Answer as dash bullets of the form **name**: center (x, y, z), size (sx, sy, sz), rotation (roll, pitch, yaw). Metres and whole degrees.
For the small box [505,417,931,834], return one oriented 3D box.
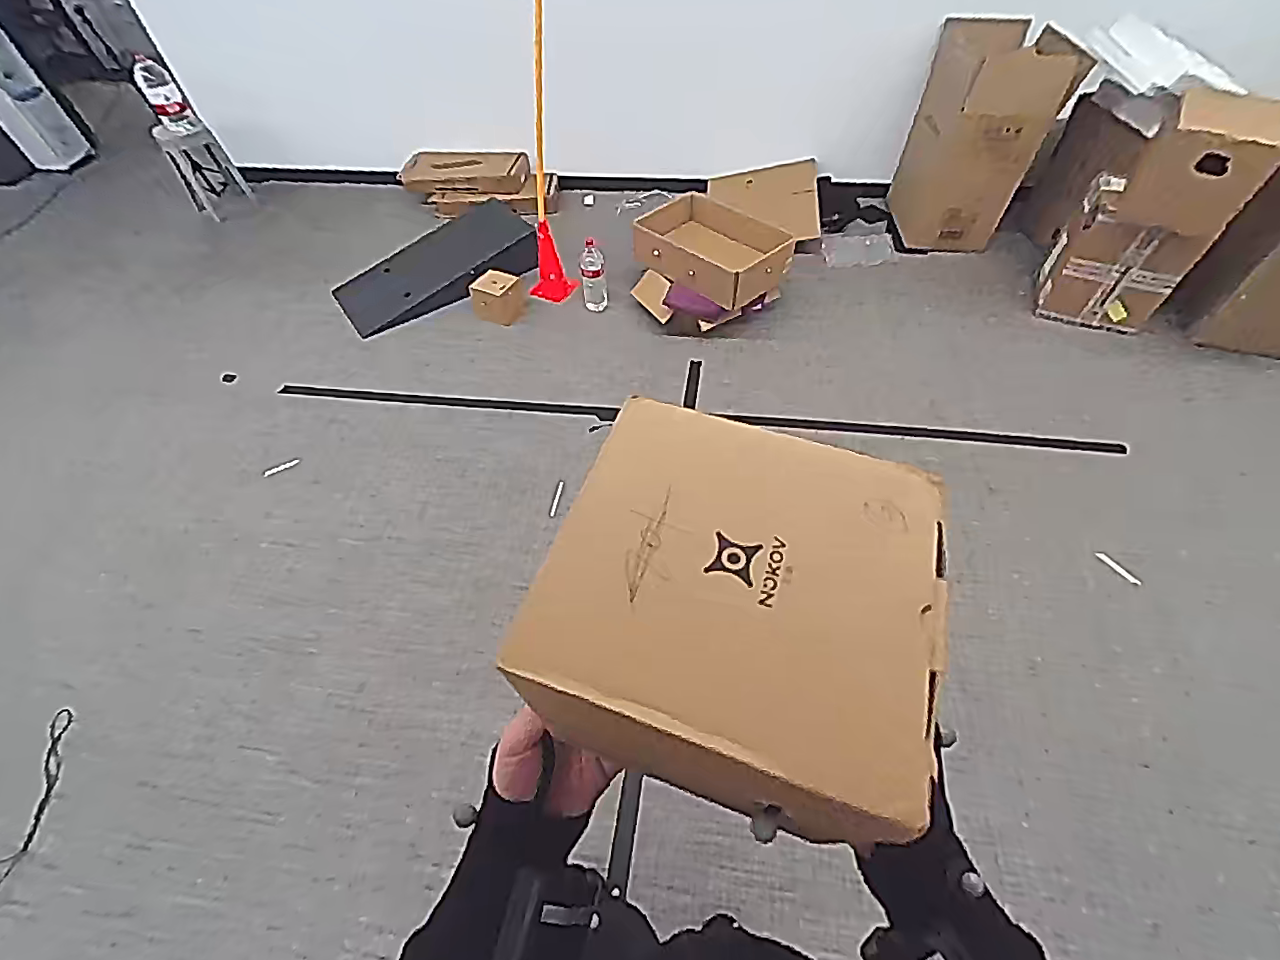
- **small box**: center (0.049, 0.092, 0.327), size (0.179, 0.176, 0.168), rotation (14, 55, 12)
